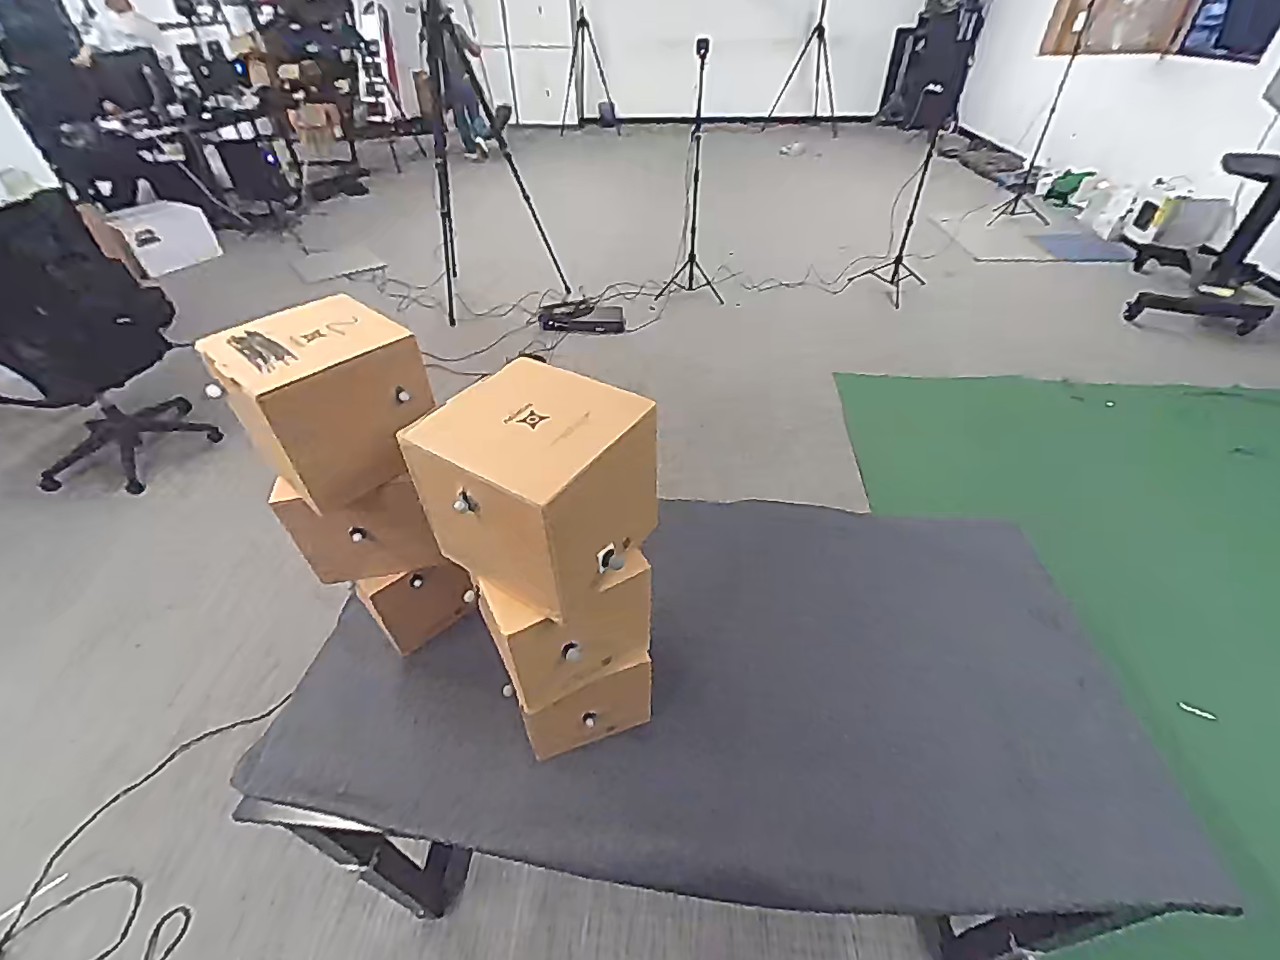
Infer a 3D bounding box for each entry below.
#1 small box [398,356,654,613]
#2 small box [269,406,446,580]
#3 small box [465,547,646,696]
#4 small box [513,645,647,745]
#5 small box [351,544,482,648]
[{"bbox_3d":[-0.100,0.003,0.545,0.179,0.176,0.168,23,48,25],"label":"small box"},{"bbox_3d":[-0.378,0.019,0.773,0.179,0.176,0.168,-10,44,-9],"label":"small box"},{"bbox_3d":[-0.101,0.129,0.648,0.168,0.176,0.179,-23,46,-22],"label":"small box"},{"bbox_3d":[-0.092,0.245,0.761,0.168,0.176,0.179,-14,43,-15],"label":"small box"},{"bbox_3d":[-0.375,0.137,0.887,0.168,0.176,0.179,-34,52,-31],"label":"small box"}]
